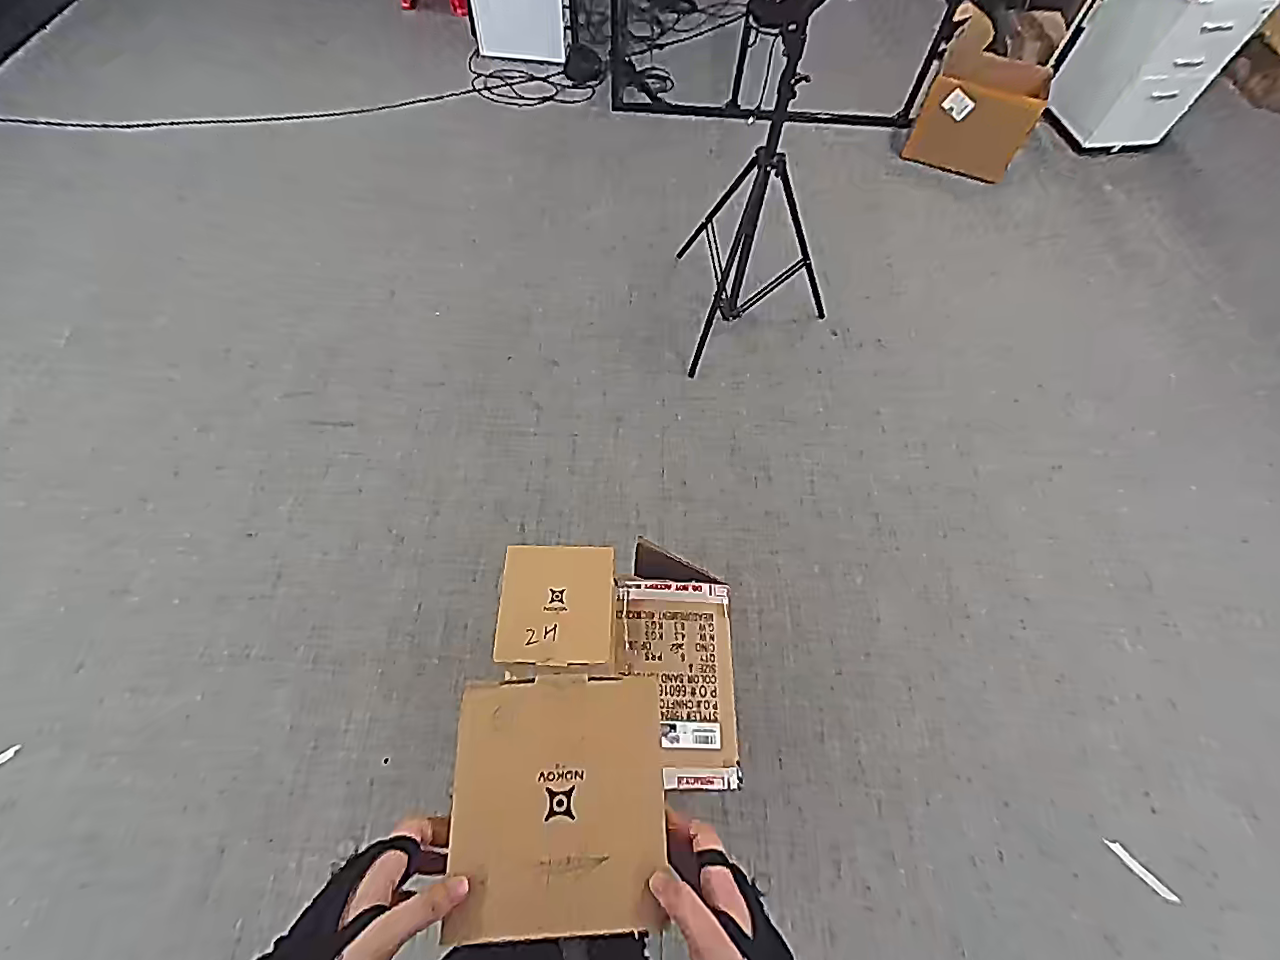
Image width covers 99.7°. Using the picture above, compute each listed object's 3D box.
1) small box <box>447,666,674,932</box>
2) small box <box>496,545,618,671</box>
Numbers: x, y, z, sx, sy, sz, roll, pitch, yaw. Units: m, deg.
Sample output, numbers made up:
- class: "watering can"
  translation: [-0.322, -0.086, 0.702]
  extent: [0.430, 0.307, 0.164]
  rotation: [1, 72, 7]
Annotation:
- class: "small box"
  translation: [-0.064, 0.272, 0.494]
  extent: [0.168, 0.176, 0.179]
  rotation: [-1, 67, -4]
- class: "small box"
  translation: [-0.121, 0.216, 0.864]
  extent: [0.168, 0.176, 0.179]
  rotation: [1, 64, 0]
